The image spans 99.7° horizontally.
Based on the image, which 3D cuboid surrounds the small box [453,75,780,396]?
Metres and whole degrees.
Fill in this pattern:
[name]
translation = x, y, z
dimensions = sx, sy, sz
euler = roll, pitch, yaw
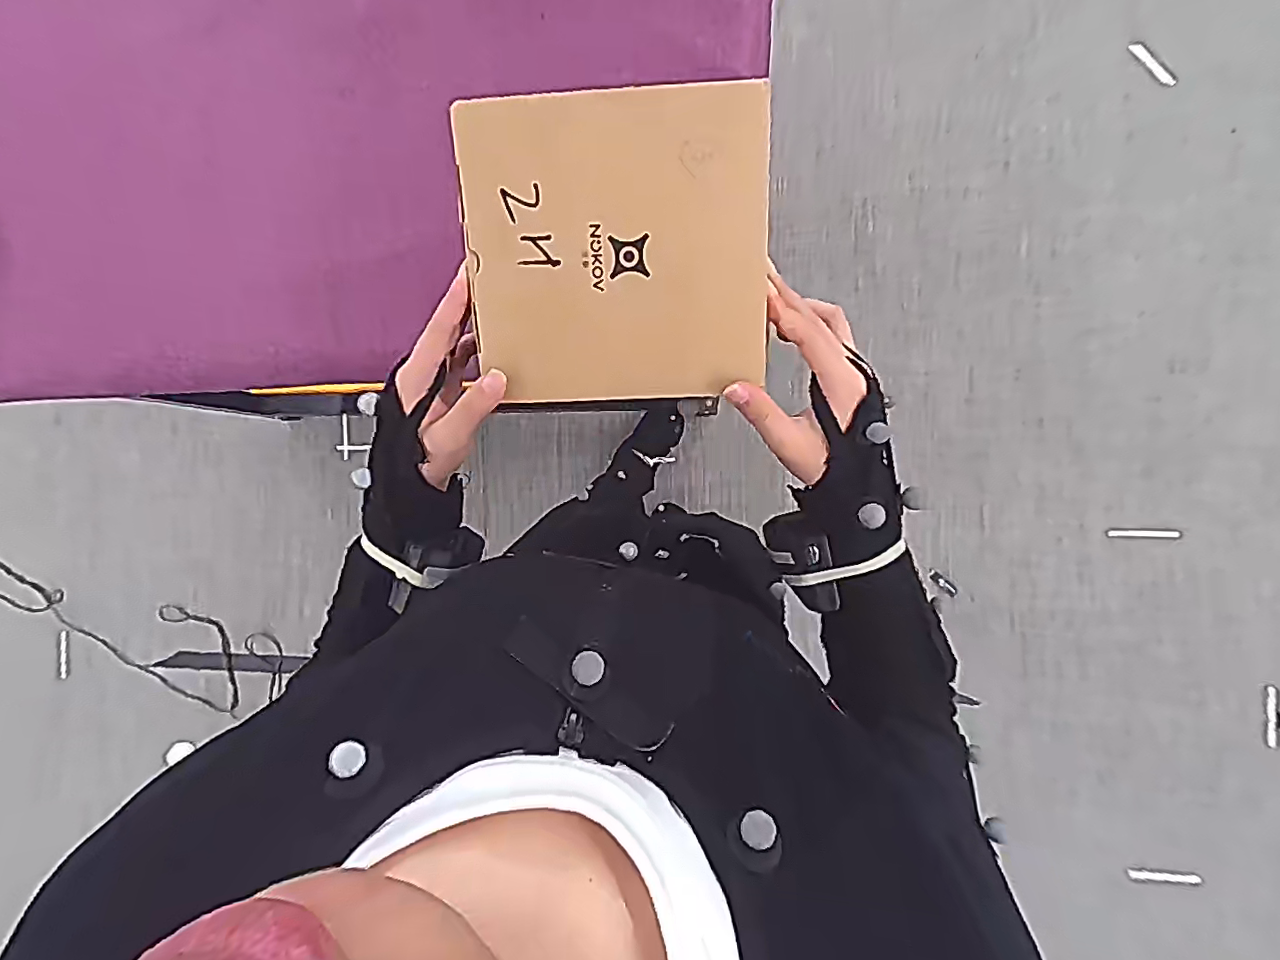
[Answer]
[small box]
translation = -0.008, -0.152, 0.382
dimensions = 0.179, 0.176, 0.168
euler = -1, 105, 4
